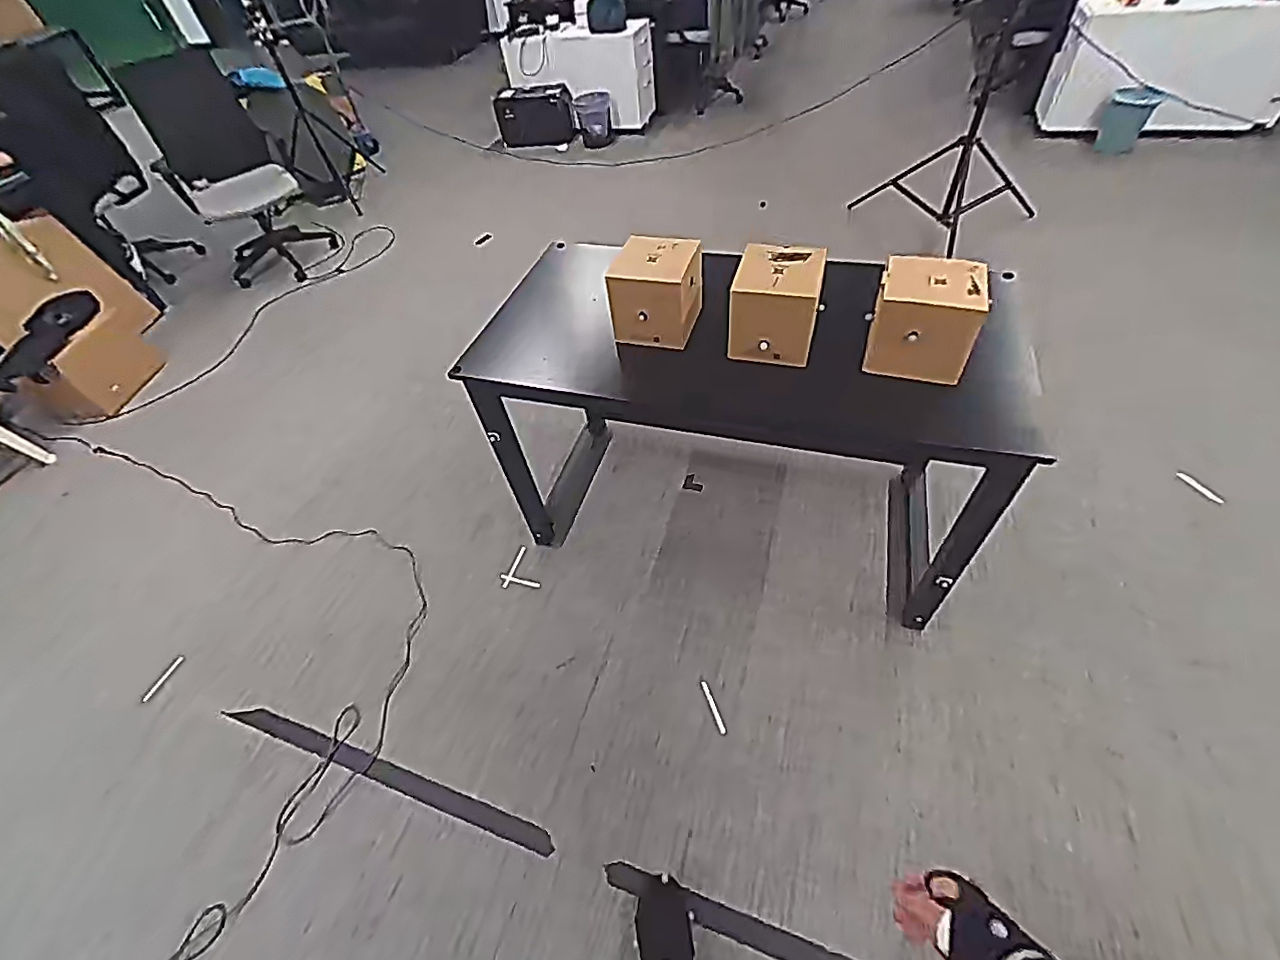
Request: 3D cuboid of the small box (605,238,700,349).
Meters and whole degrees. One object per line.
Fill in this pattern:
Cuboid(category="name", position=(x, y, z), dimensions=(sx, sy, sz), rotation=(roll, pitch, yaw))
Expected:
Cuboid(category="small box", position=(0.038, -0.417, 1.212), dimensions=(0.168, 0.176, 0.179), rotation=(11, 53, 15))

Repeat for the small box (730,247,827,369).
Cuboid(category="small box", position=(0.285, -0.361, 1.135), dimensions=(0.168, 0.176, 0.179), rotation=(11, 53, 16))

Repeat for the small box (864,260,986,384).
Cuboid(category="small box", position=(0.550, -0.307, 1.056), dimensions=(0.179, 0.176, 0.168), rotation=(13, 53, 18))
